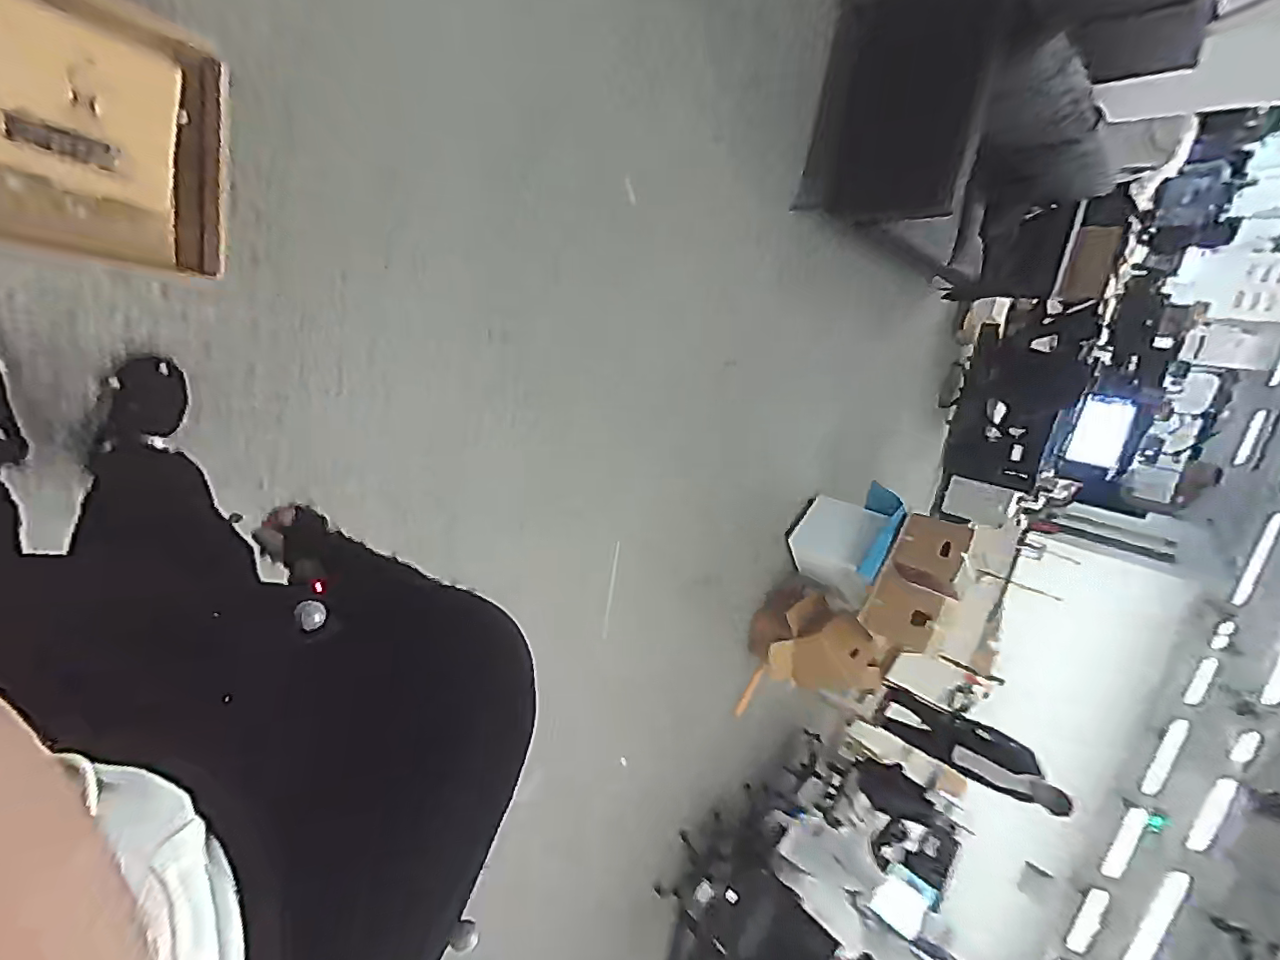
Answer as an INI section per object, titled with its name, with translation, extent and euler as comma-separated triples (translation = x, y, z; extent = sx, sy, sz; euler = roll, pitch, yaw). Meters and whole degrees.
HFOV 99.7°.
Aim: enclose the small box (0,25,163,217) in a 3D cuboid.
[small box]
translation = -0.813, -0.499, 0.783
extent = 0.168, 0.176, 0.179
euler = -1, 108, -46
